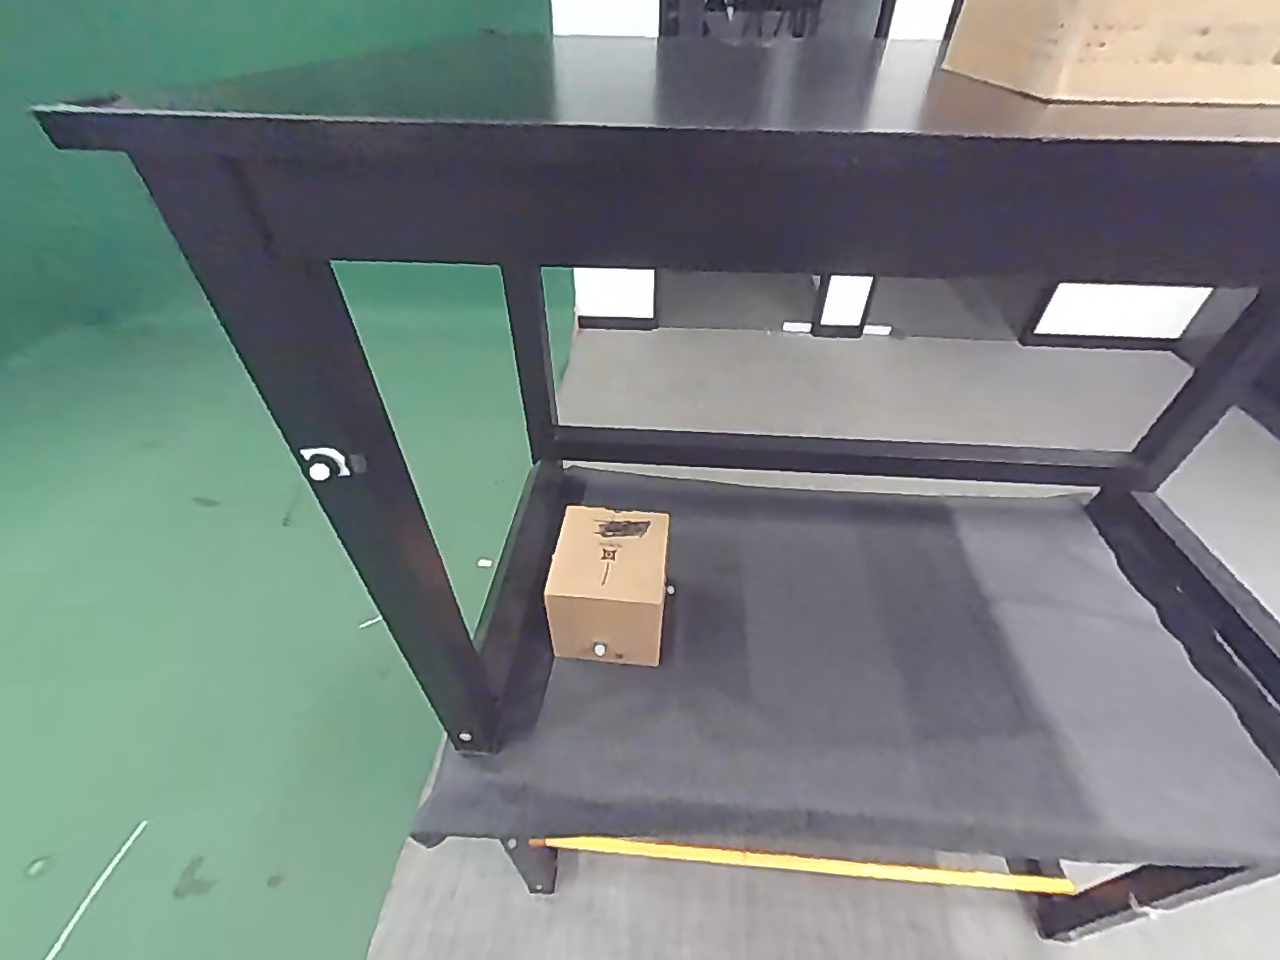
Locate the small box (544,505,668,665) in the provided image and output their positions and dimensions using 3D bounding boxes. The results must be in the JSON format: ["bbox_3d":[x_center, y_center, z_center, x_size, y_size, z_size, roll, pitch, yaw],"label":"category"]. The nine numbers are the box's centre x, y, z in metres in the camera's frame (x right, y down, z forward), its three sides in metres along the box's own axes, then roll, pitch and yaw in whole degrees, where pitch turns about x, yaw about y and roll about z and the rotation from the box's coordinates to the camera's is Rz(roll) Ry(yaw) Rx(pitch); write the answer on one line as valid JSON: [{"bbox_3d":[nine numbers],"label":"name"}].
[{"bbox_3d":[-0.047,0.164,0.855,0.168,0.176,0.179,4,43,4],"label":"small box"}]
